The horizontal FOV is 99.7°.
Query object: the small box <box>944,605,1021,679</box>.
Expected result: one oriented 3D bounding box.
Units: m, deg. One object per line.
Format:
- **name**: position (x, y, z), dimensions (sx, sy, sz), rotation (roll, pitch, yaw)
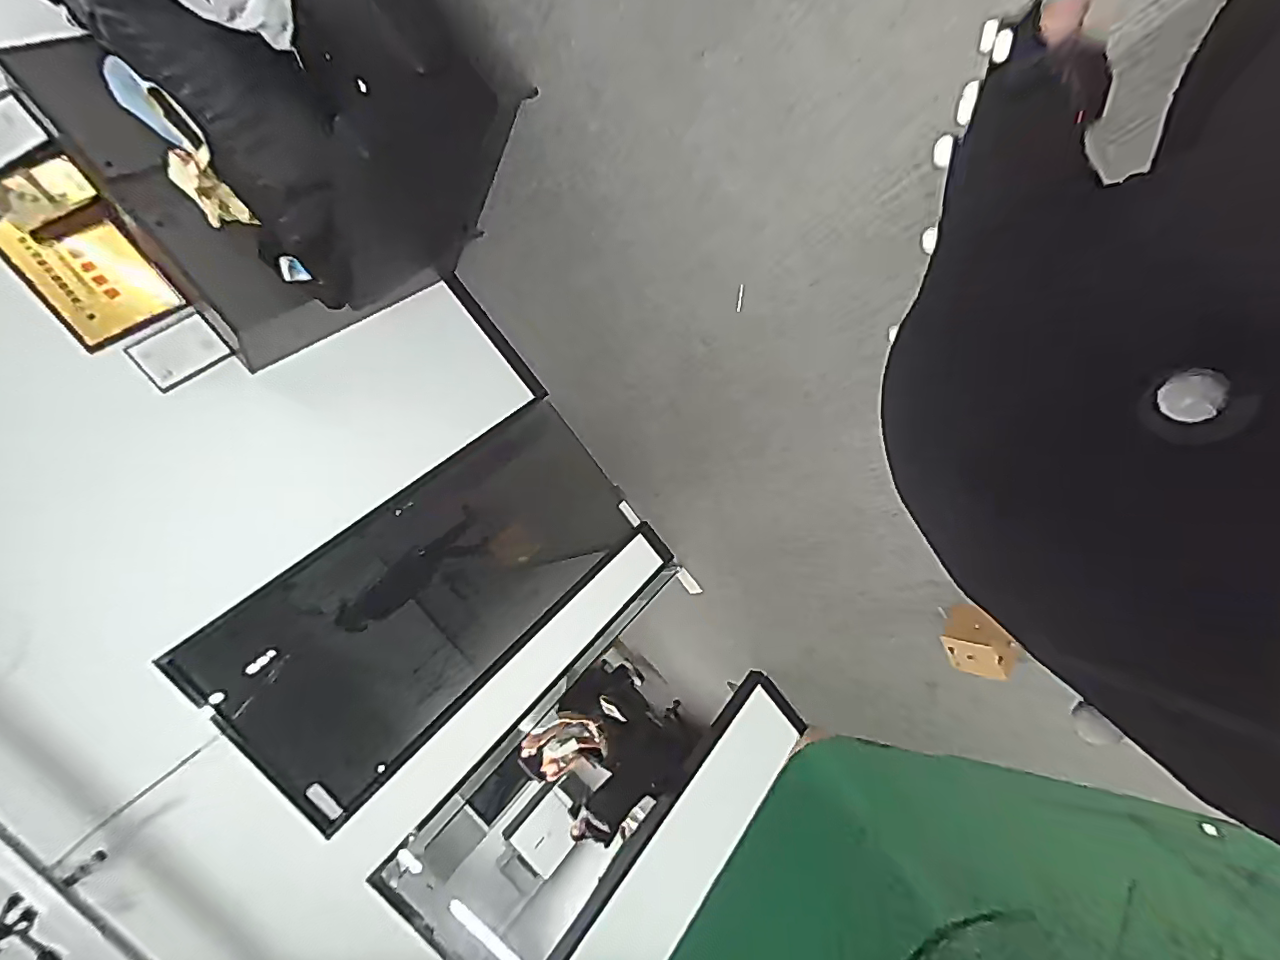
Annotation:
- **small box**: position (1.200, 0.556, 1.884), dimensions (0.179, 0.176, 0.168), rotation (-4, 123, 53)
